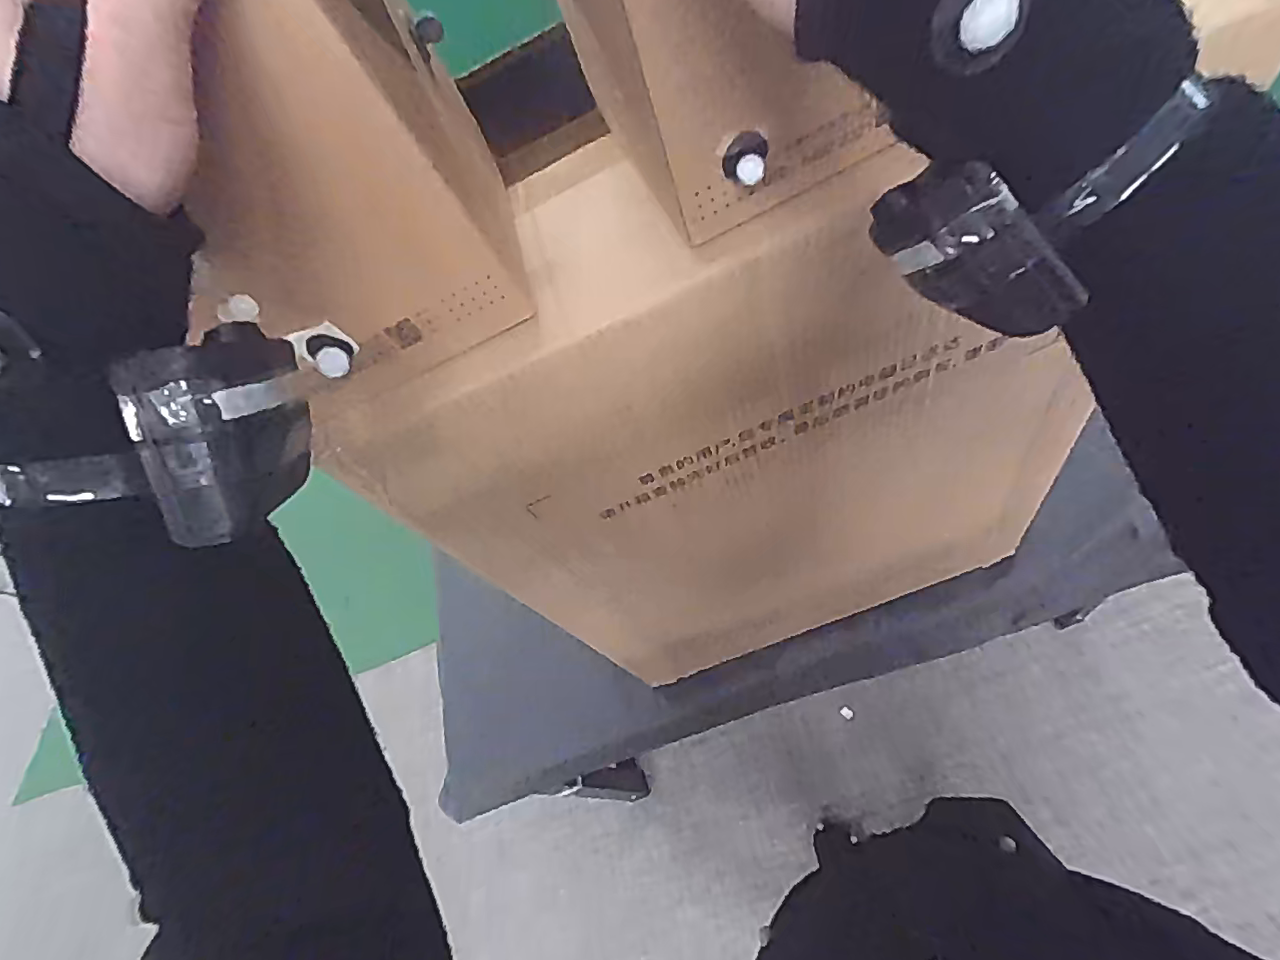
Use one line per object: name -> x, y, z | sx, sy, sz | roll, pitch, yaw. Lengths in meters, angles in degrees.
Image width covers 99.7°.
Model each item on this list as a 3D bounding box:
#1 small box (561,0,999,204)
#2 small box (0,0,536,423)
small box -> 0.046, -0.260, 0.243 | 0.168, 0.176, 0.179 | -26, 56, 4
small box -> -0.173, -0.162, 0.272 | 0.168, 0.176, 0.179 | -25, 57, 8
